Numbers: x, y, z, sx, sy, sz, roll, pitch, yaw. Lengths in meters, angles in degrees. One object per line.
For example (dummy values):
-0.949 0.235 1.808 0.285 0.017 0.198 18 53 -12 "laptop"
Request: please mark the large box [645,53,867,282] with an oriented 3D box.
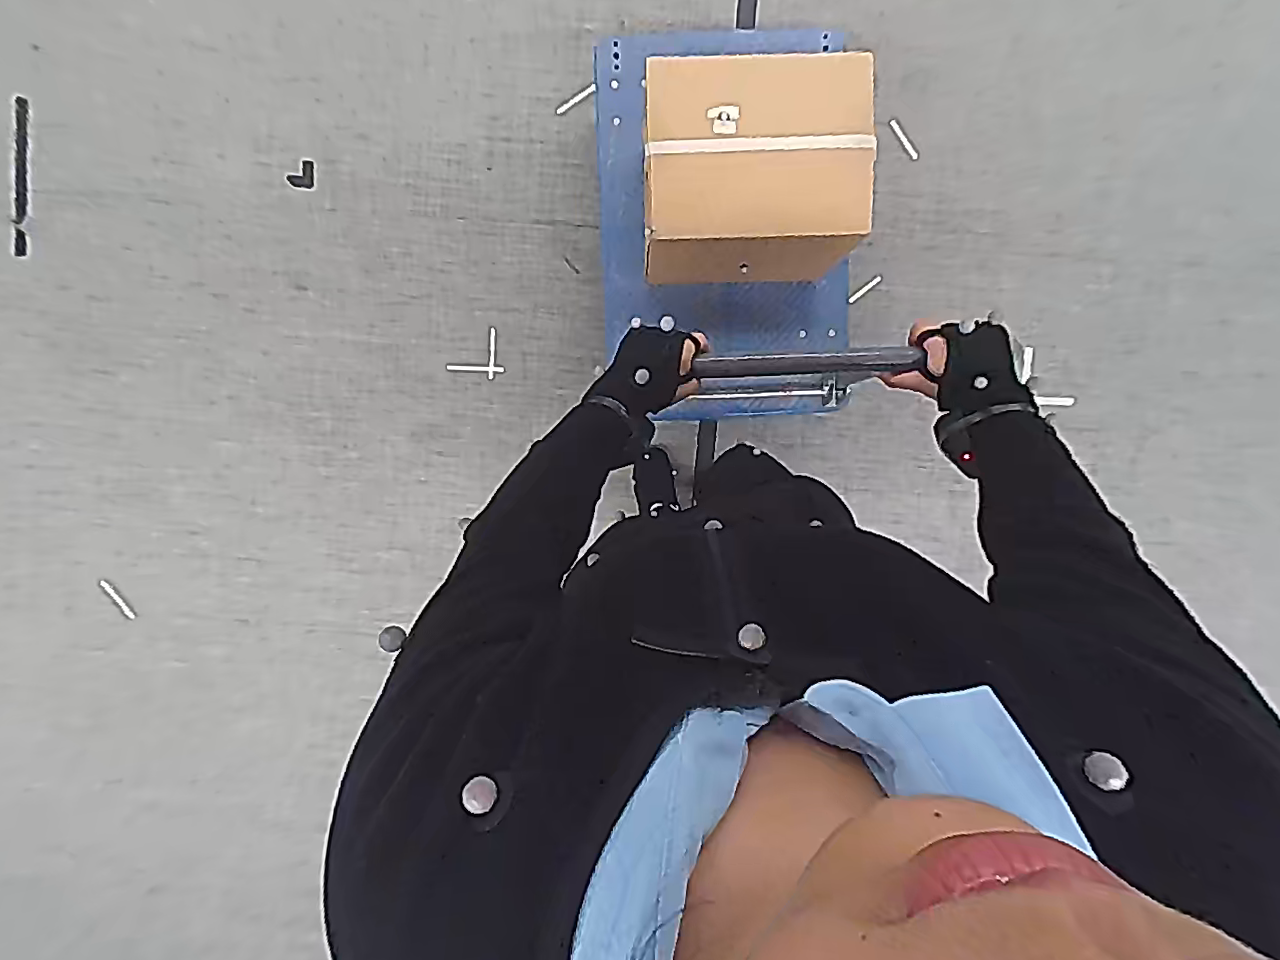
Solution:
0.219 -0.620 1.136 0.408 0.320 0.320 -2 94 1 "large box"
